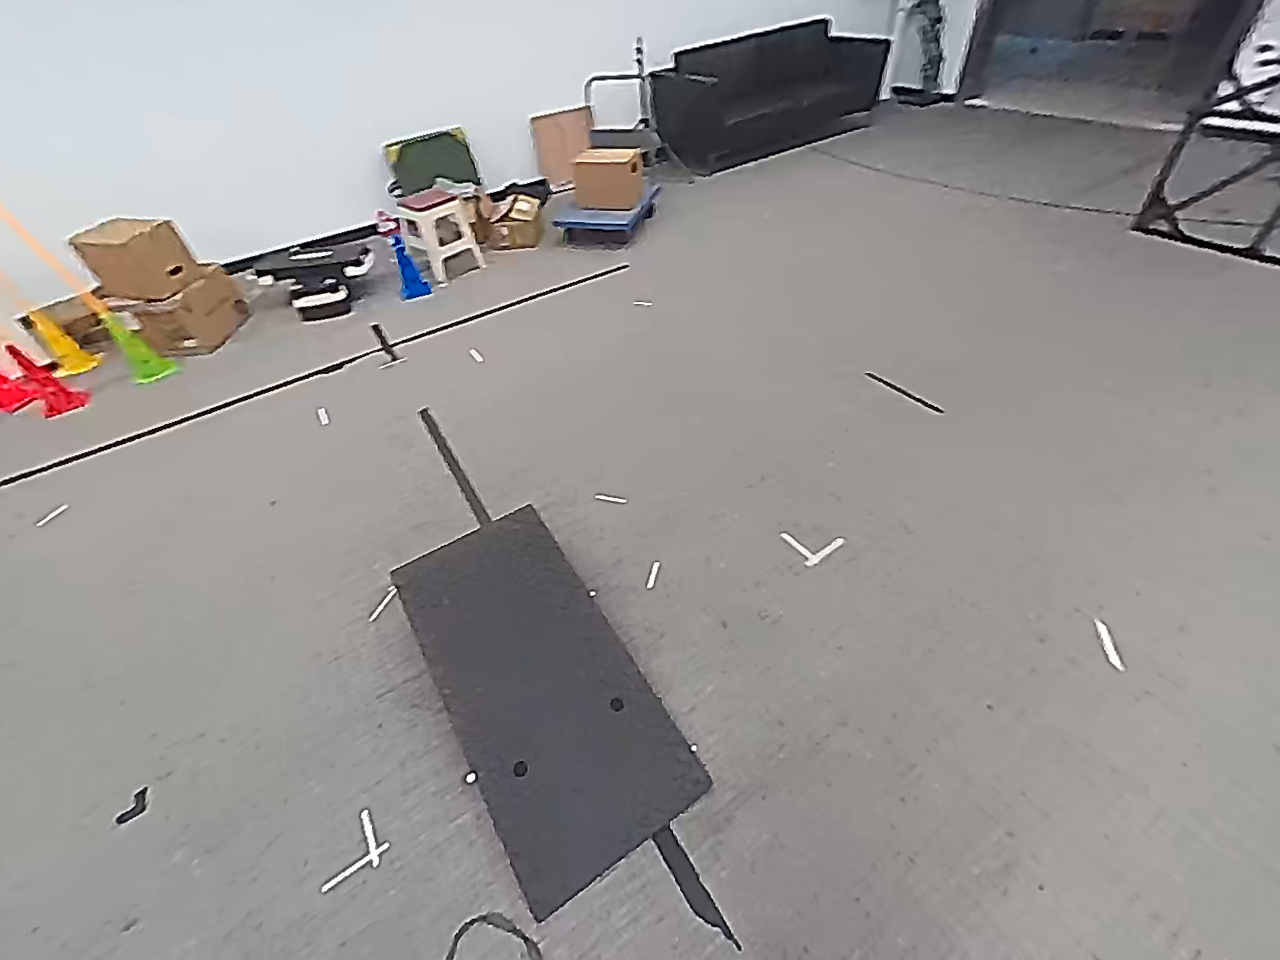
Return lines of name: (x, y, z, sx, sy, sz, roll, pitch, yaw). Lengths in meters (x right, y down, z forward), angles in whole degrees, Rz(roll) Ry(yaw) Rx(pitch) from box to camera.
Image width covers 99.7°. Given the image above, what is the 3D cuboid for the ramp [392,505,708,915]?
ramp: (-0.292, 0.522, 1.512, 0.509, 0.206, 0.991, -28, 48, -22)
